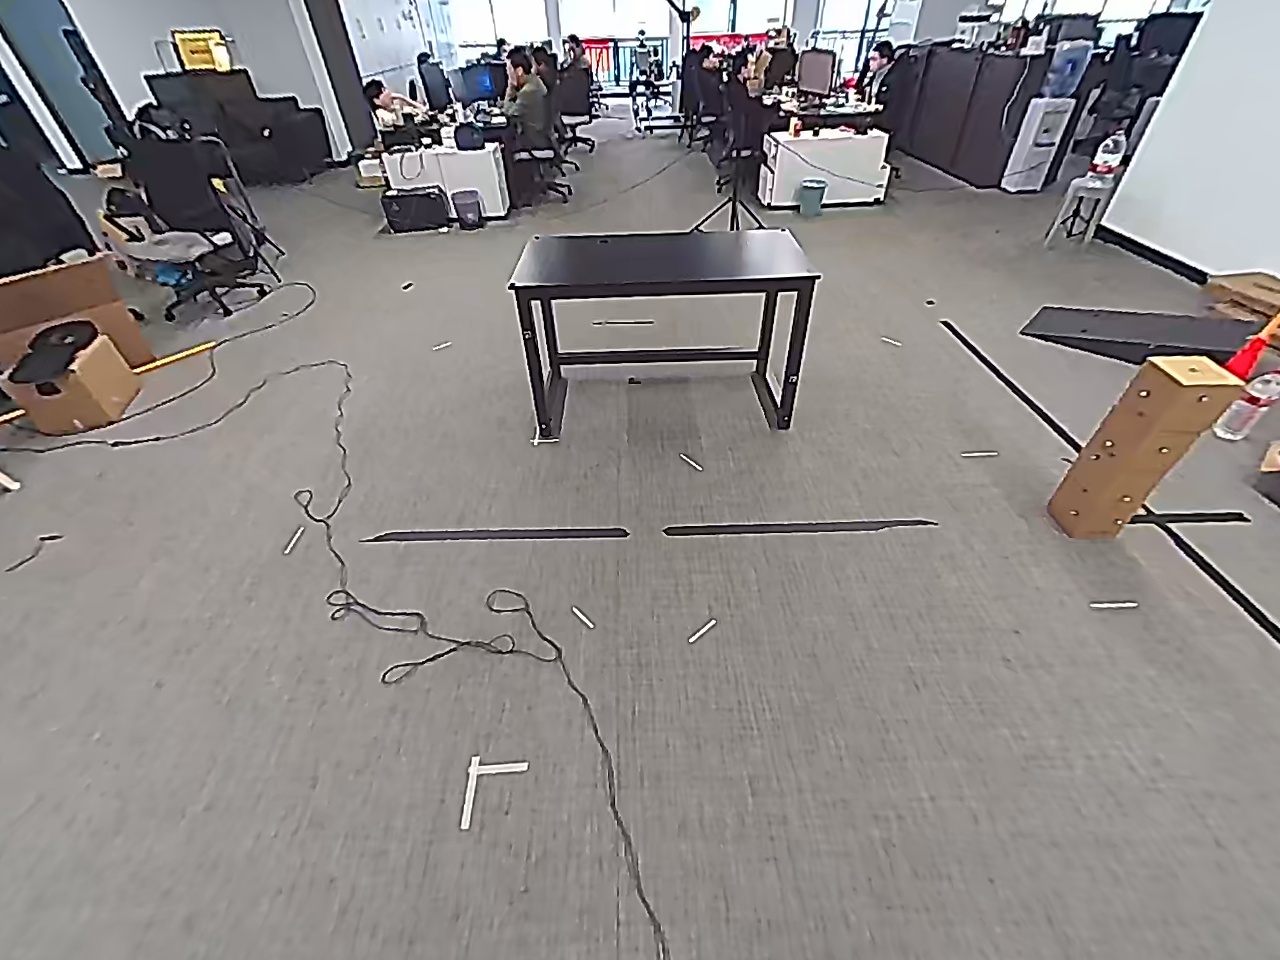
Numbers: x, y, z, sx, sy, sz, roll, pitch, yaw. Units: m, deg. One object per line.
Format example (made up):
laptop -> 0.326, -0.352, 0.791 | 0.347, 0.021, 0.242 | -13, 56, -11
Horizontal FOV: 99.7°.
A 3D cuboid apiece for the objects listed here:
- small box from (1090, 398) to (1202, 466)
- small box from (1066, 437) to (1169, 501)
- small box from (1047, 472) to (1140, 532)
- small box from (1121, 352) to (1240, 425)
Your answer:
small box -> 1.658, -0.161, 1.786 | 0.179, 0.176, 0.168 | -4, 41, -1
small box -> 1.665, -0.040, 1.898 | 0.179, 0.176, 0.168 | -3, 41, -2
small box -> 1.673, 0.082, 2.007 | 0.168, 0.176, 0.179 | -2, 40, 0
small box -> 1.653, -0.282, 1.675 | 0.179, 0.176, 0.168 | -1, 42, 2
